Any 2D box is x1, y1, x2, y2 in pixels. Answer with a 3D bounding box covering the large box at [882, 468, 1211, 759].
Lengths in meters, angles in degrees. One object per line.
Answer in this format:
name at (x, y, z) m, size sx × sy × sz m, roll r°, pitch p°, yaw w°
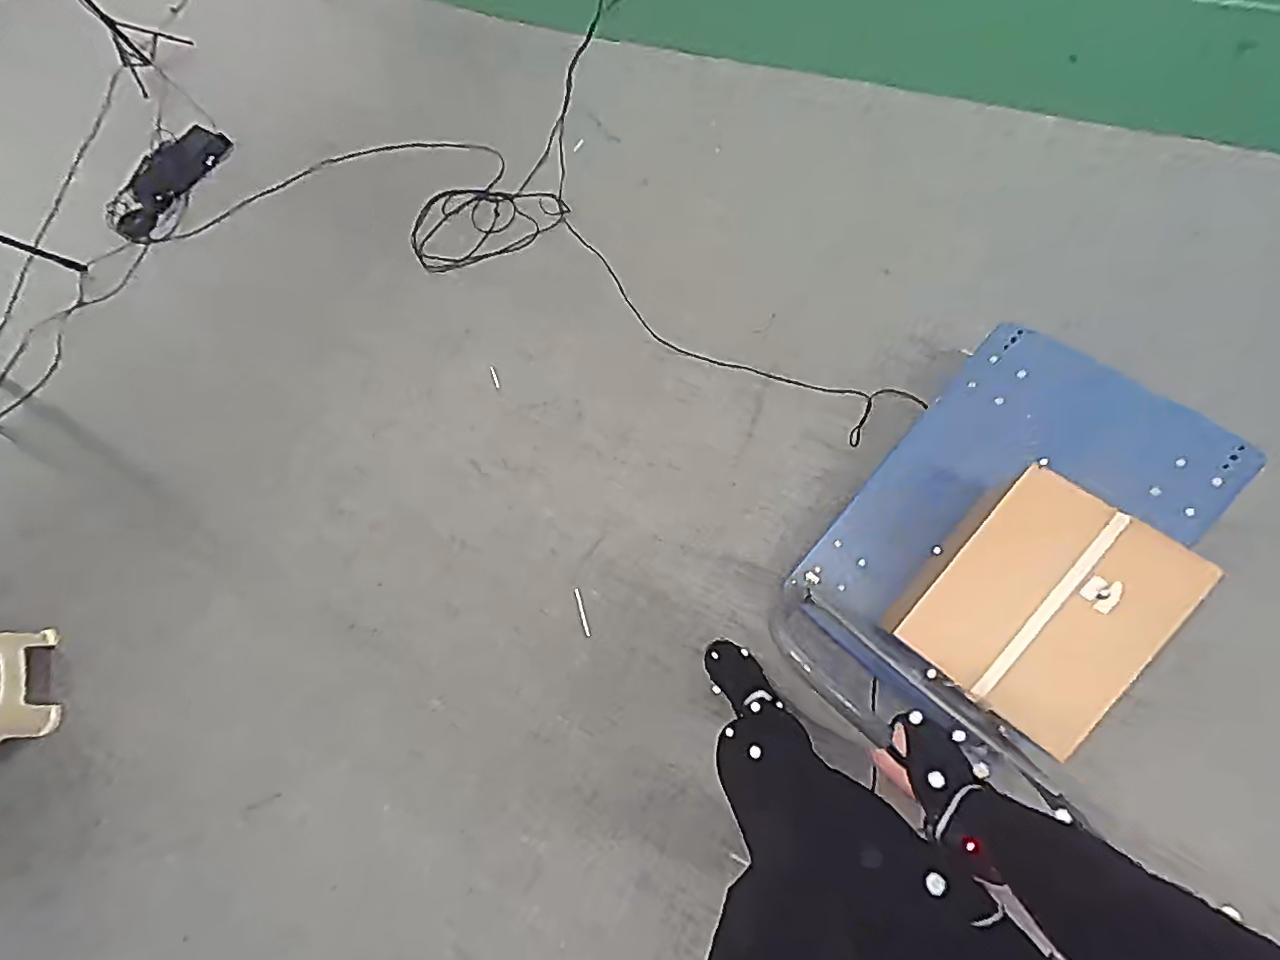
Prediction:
large box at (0.747, 0.252, 1.076) m, size 0.320 × 0.320 × 0.408 m, roll 39°, pitch 92°, yaw 20°
